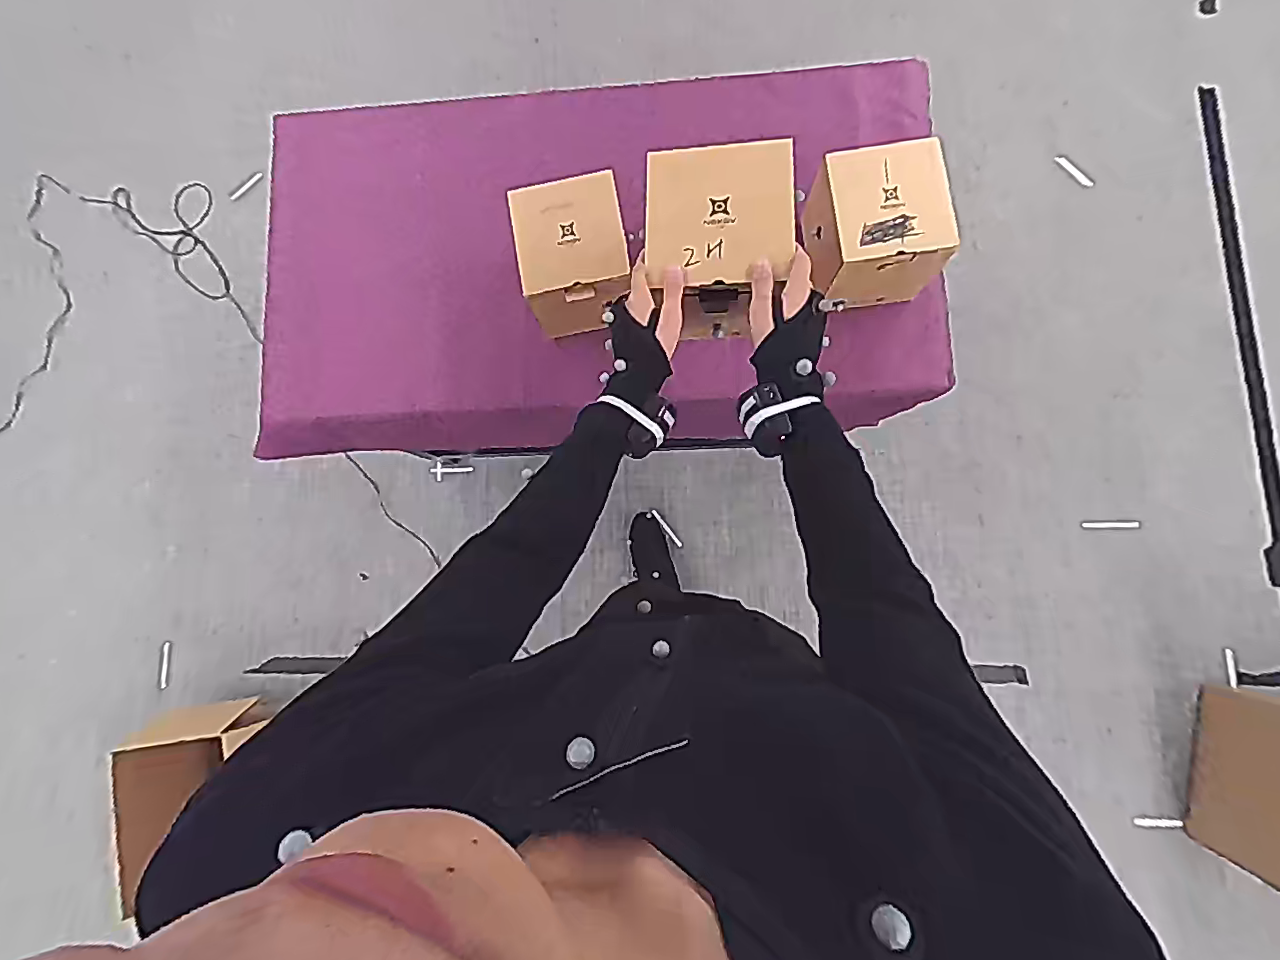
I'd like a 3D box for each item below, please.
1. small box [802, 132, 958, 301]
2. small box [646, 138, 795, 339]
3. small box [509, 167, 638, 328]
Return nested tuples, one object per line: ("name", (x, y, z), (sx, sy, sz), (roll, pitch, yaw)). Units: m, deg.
("small box", (0.364, -0.398, 0.852), (0.168, 0.176, 0.179), (-7, 82, 4))
("small box", (0.101, -0.290, 0.684), (0.168, 0.176, 0.179), (0, 88, 10))
("small box", (-0.100, -0.364, 0.884), (0.168, 0.176, 0.179), (-11, 83, 2))
